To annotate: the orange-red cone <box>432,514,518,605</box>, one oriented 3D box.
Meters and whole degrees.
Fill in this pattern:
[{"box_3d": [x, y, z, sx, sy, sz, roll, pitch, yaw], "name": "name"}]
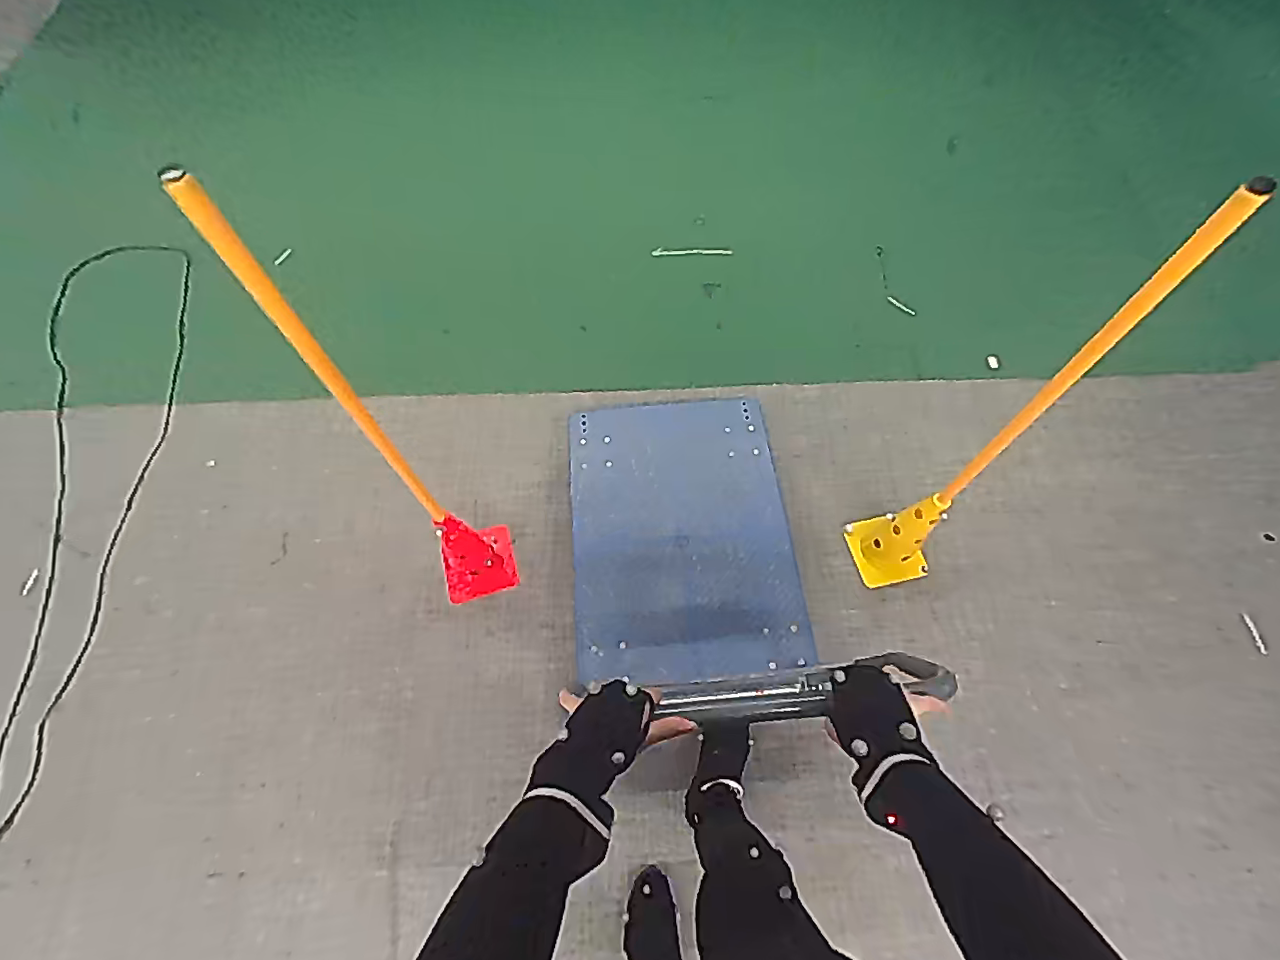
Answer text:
[{"box_3d": [-0.466, 0.175, 1.417, 0.199, 0.360, 0.198, -16, 64, -6], "name": "orange-red cone"}]
